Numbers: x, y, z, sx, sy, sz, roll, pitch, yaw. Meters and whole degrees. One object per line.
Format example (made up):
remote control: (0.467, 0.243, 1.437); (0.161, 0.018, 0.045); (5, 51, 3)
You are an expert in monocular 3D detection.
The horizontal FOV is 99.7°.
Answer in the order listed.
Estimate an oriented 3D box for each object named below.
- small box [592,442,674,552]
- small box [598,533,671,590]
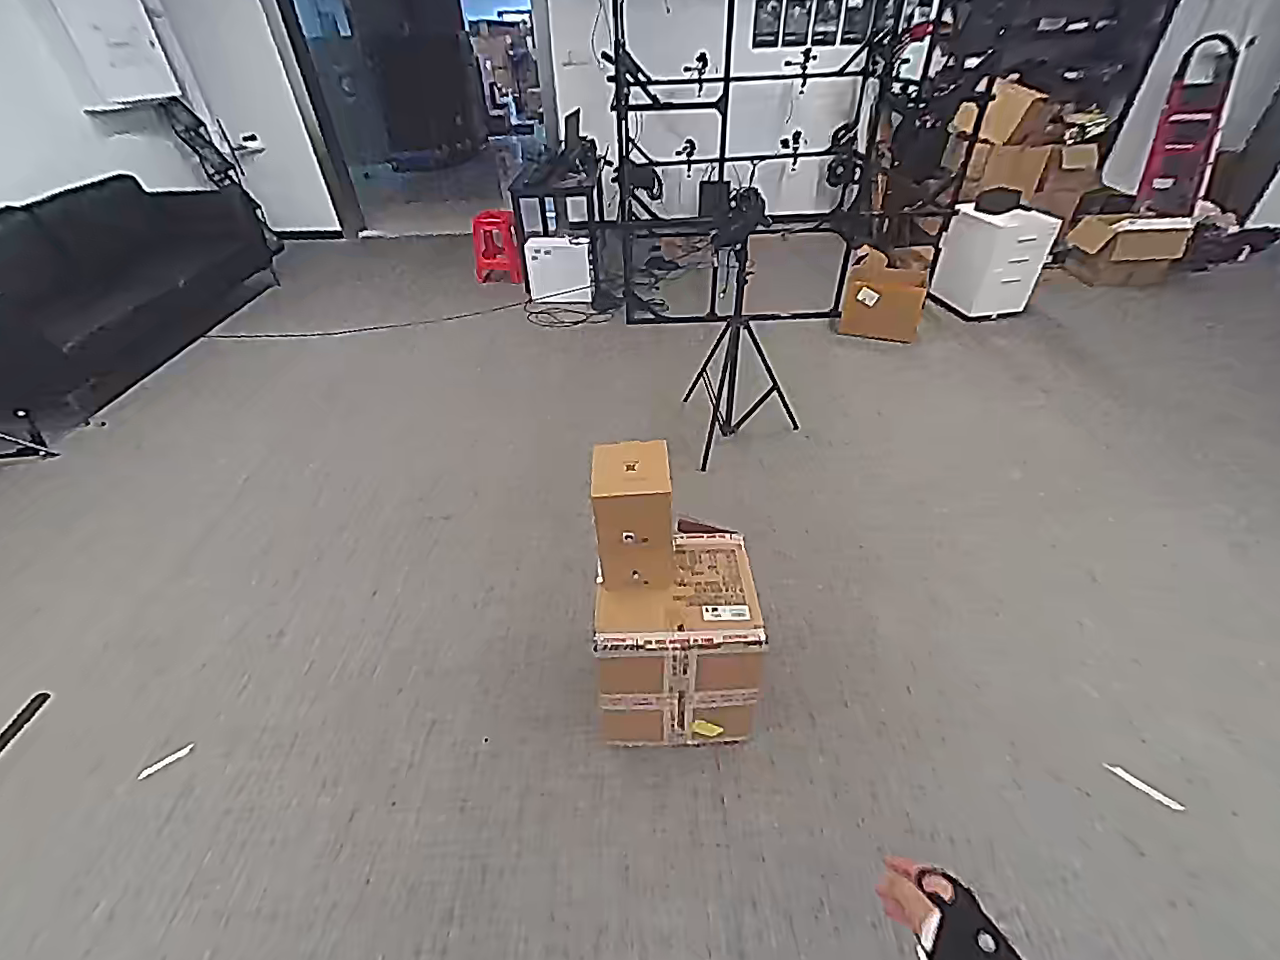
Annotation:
small box: (-0.013, 0.037, 1.197); (0.168, 0.176, 0.179); (-4, 42, 1)
small box: (-0.012, 0.146, 1.320); (0.168, 0.176, 0.179); (-3, 42, 1)
